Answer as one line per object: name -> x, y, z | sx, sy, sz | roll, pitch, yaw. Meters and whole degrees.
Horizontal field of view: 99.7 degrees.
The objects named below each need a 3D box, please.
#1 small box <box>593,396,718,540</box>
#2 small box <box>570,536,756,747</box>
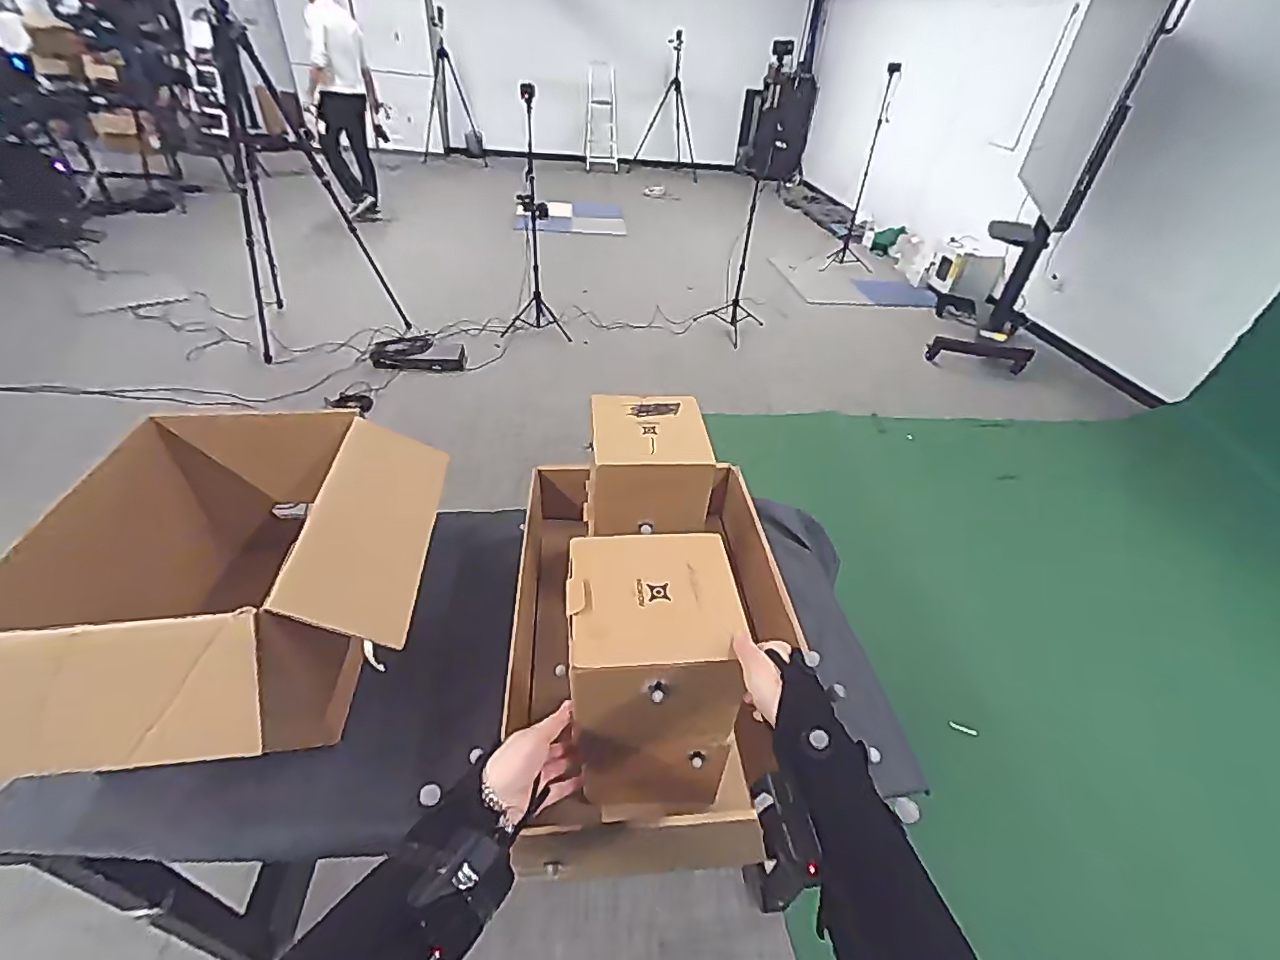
small box -> 0.012, -0.012, 0.834 | 0.168, 0.176, 0.179 | -1, 41, -6
small box -> 0.012, 0.181, 0.607 | 0.179, 0.176, 0.168 | -1, 41, -7
